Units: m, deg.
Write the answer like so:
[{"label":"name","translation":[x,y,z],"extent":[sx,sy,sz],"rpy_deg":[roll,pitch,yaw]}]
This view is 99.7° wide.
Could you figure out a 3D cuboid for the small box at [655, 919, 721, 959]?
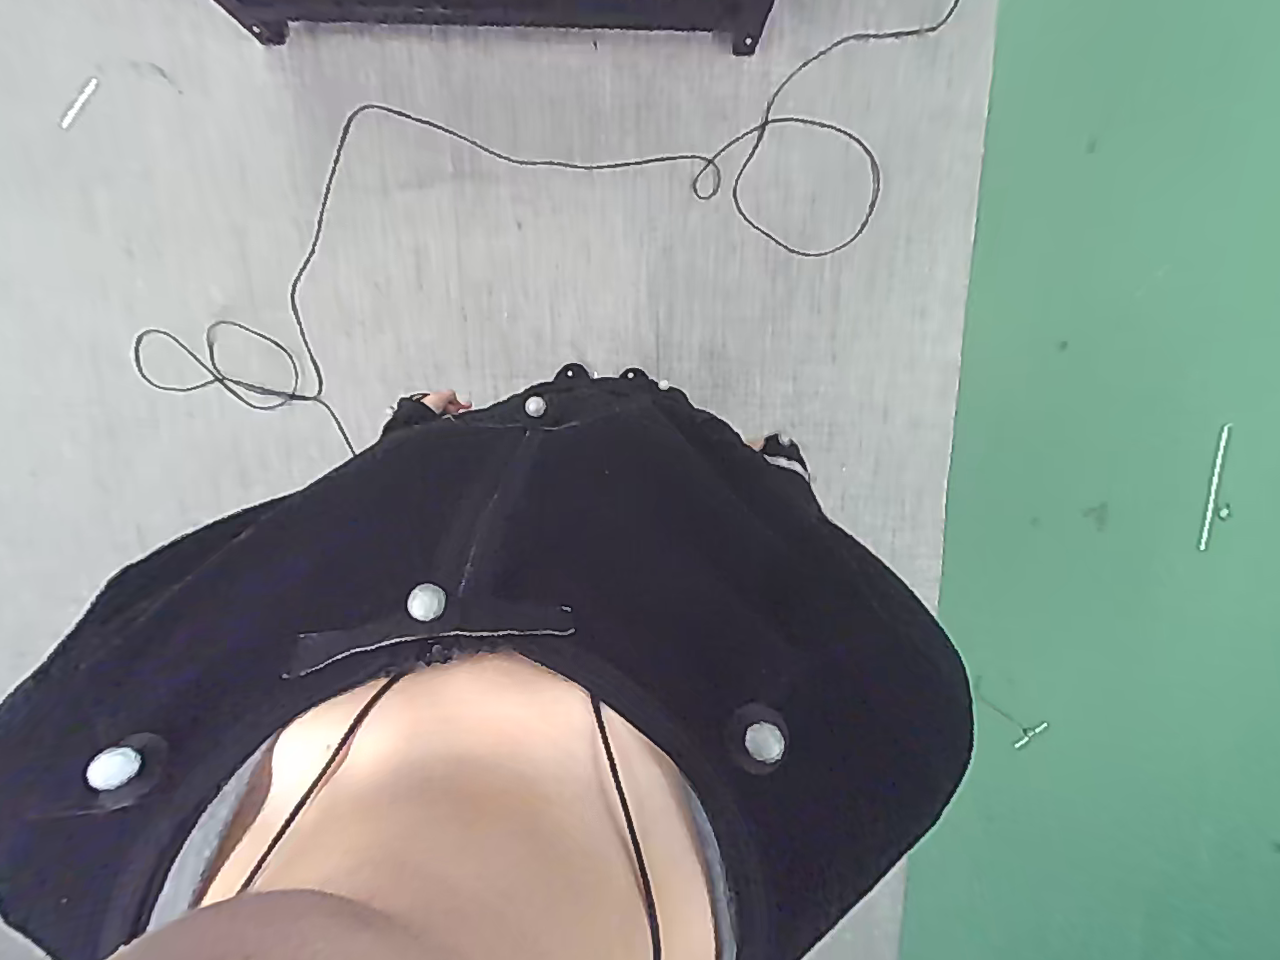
[{"label":"small box","translation":[0.130,1.333,1.448],"extent":[0.168,0.176,0.179],"rpy_deg":[3,100,-2]}]
